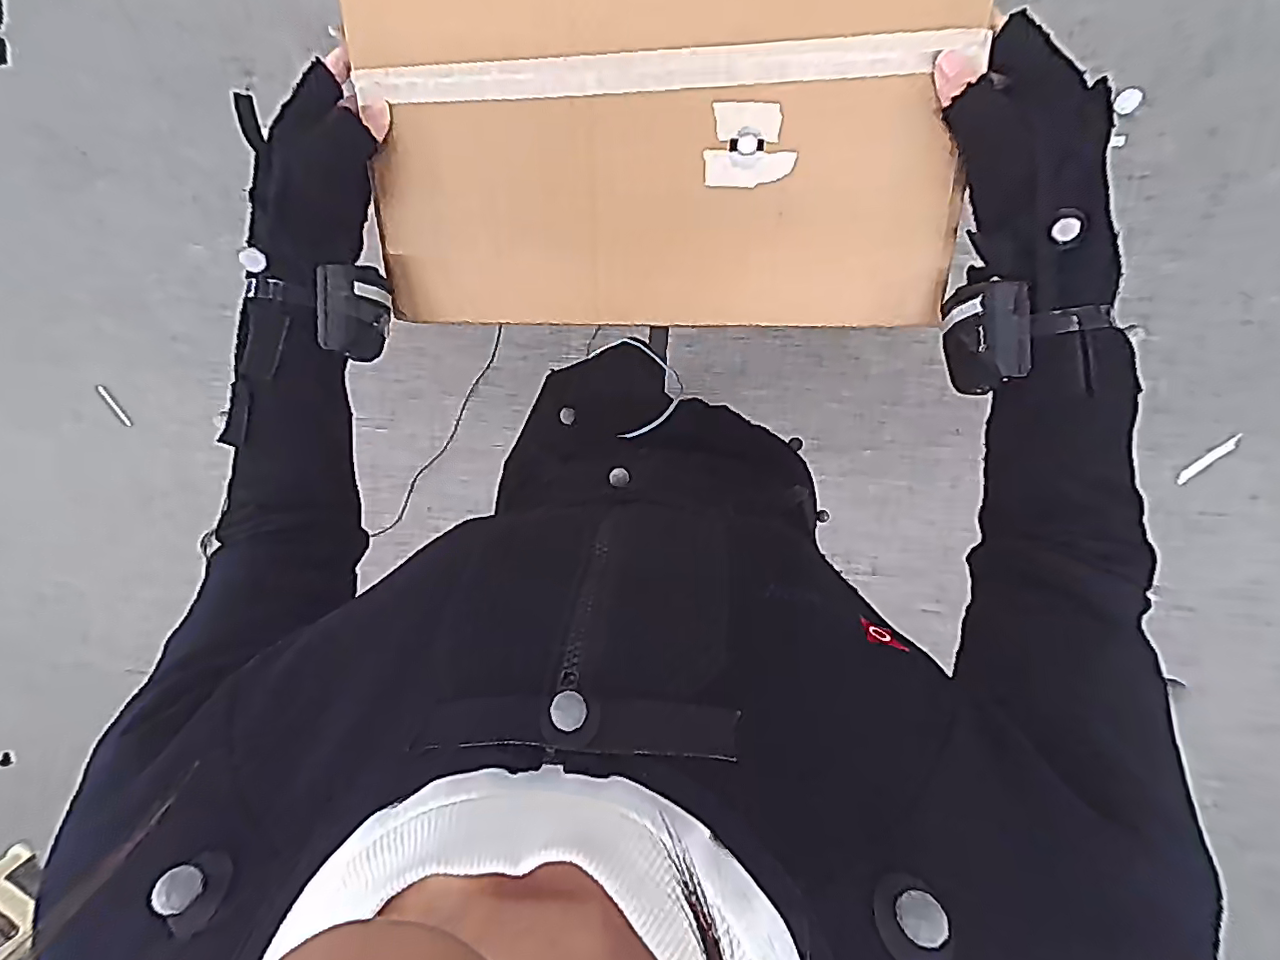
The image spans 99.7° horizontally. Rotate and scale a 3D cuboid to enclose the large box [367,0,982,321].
[{"bbox_3d":[0.029,-0.321,0.498,0.408,0.320,0.320,2,111,8],"label":"large box"}]
